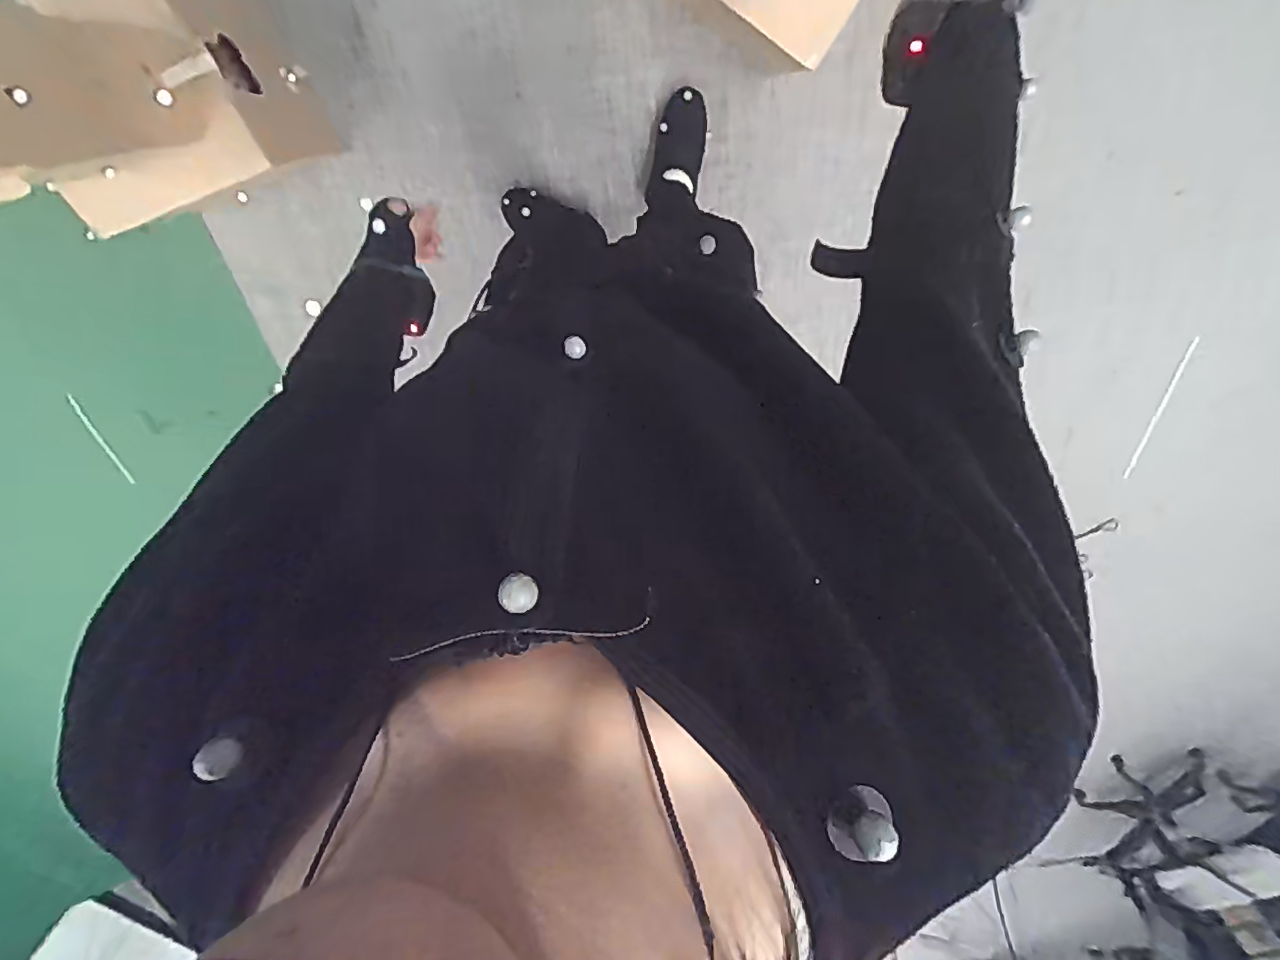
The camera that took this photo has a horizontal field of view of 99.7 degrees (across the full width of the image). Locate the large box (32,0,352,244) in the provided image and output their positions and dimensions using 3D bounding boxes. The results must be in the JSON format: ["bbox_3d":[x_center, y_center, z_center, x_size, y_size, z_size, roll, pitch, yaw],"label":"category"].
[{"bbox_3d":[-0.872,-0.712,1.044,0.408,0.320,0.320,-14,123,12],"label":"large box"}]

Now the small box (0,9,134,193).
[{"bbox_3d":[-0.839,-0.486,0.702,0.168,0.176,0.179,-11,126,8],"label":"small box"}]

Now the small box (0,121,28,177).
[{"bbox_3d":[-0.844,-0.391,0.568,0.168,0.176,0.179,-12,127,8],"label":"small box"}]

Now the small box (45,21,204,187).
[{"bbox_3d":[-0.847,-0.577,0.839,0.179,0.176,0.168,-12,126,8],"label":"small box"}]
